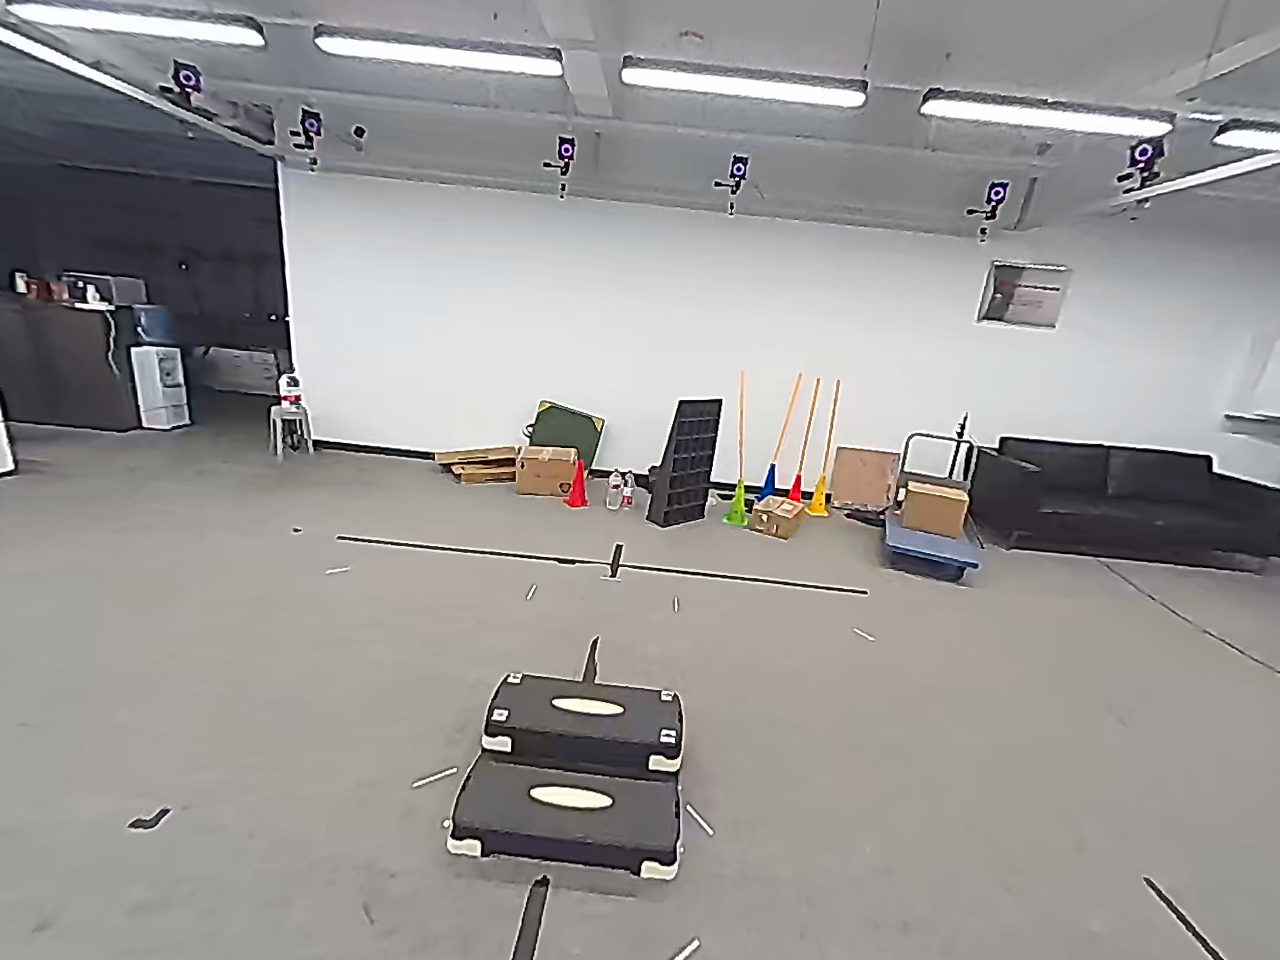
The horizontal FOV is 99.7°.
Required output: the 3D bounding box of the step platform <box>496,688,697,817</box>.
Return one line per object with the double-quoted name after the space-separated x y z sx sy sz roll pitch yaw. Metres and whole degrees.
-0.143 0.931 1.882 0.684 0.204 0.286 8 15 6 "step platform"
